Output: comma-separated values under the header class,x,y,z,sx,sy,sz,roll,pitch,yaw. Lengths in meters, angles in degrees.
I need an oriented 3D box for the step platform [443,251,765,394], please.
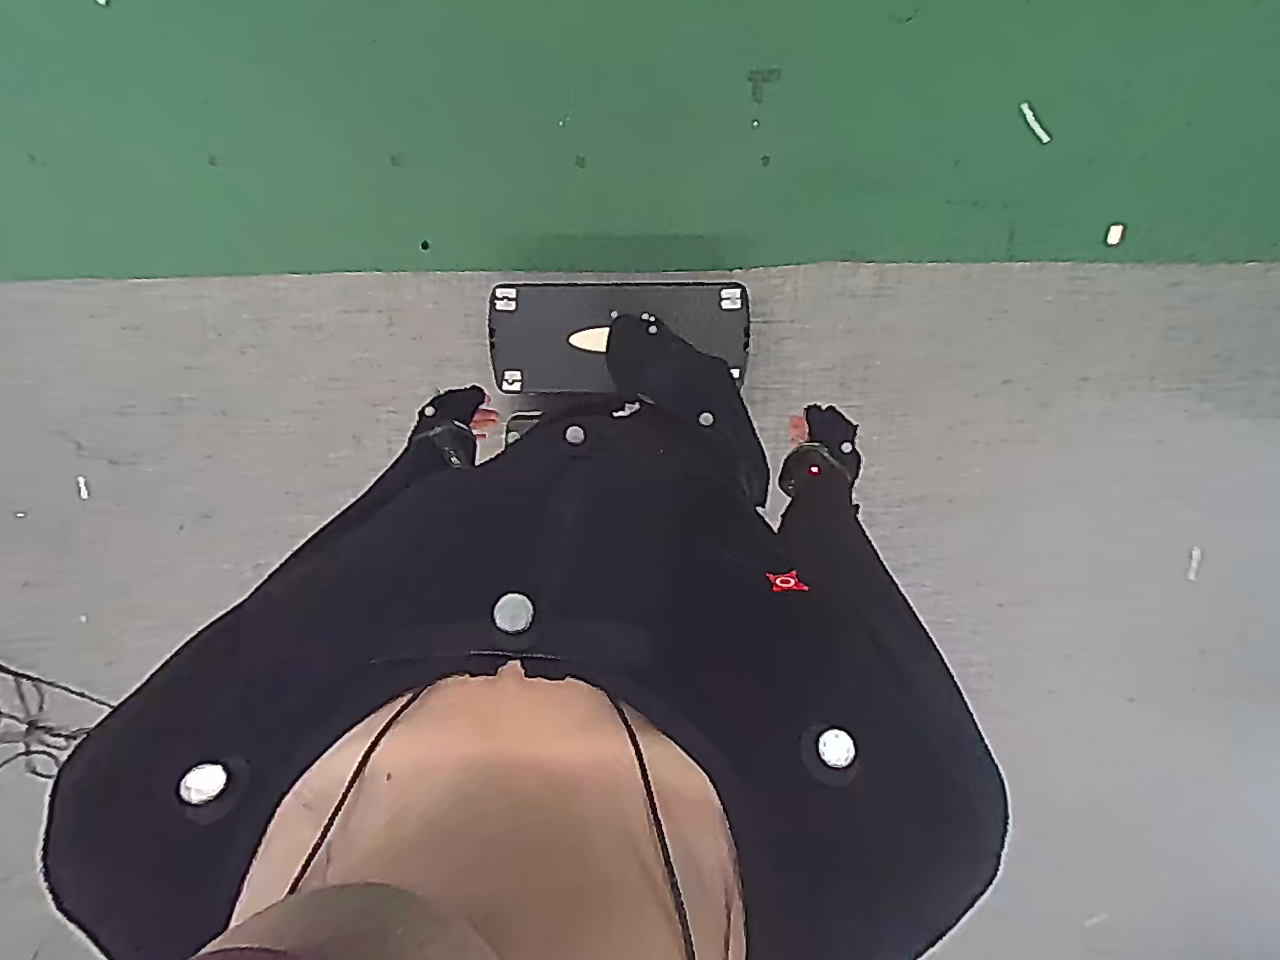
class,x,y,z,sx,sy,sz,roll,pitch,yaw
step platform,-0.075,-0.352,1.237,0.684,0.204,0.286,-1,104,1
